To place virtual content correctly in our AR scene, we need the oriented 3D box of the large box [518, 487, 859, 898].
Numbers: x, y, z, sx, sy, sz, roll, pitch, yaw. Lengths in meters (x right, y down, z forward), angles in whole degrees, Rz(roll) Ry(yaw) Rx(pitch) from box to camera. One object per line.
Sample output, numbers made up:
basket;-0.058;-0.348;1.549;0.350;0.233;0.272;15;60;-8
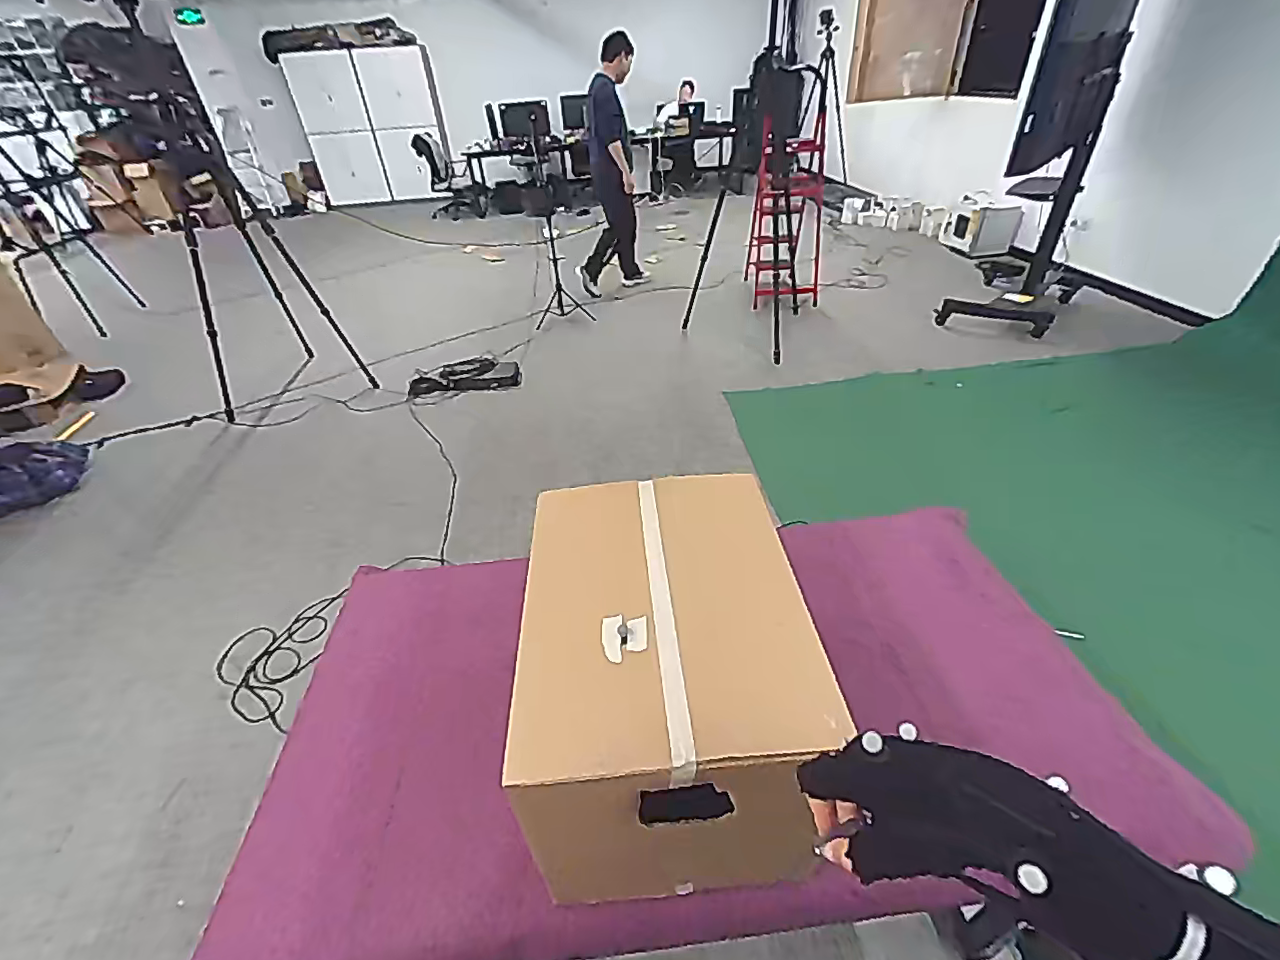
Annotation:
large box;0.034;0.256;0.721;0.320;0.320;0.408;-5;37;-1
